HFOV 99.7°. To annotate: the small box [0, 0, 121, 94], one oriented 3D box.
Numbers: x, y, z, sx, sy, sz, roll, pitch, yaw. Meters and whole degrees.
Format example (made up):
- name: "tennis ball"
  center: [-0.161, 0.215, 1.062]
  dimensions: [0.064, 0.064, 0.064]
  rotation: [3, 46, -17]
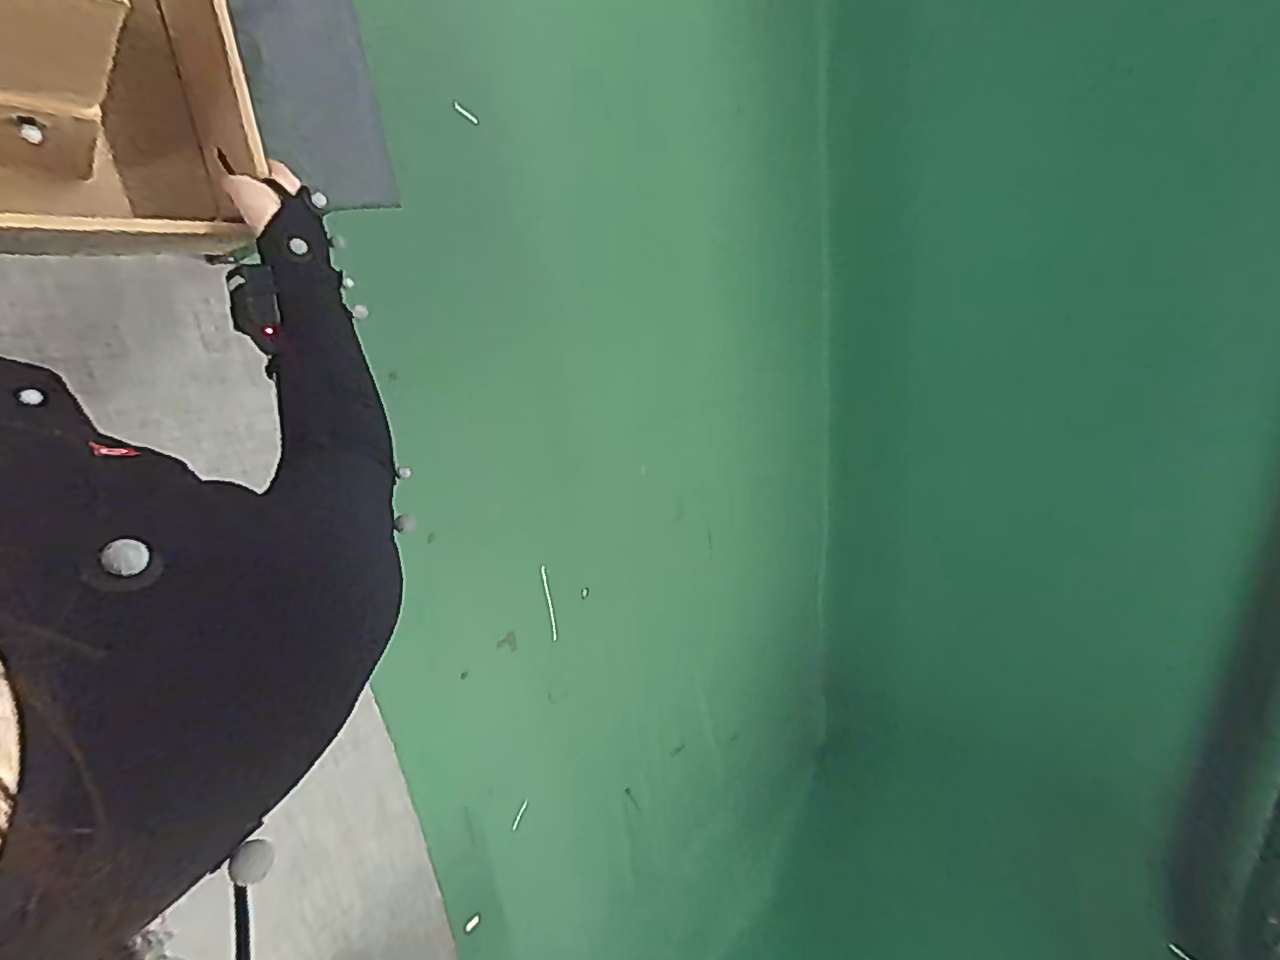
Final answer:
- name: "small box"
  center: [-0.401, -0.321, 0.264]
  dimensions: [0.179, 0.176, 0.168]
  rotation: [-25, 116, -44]
